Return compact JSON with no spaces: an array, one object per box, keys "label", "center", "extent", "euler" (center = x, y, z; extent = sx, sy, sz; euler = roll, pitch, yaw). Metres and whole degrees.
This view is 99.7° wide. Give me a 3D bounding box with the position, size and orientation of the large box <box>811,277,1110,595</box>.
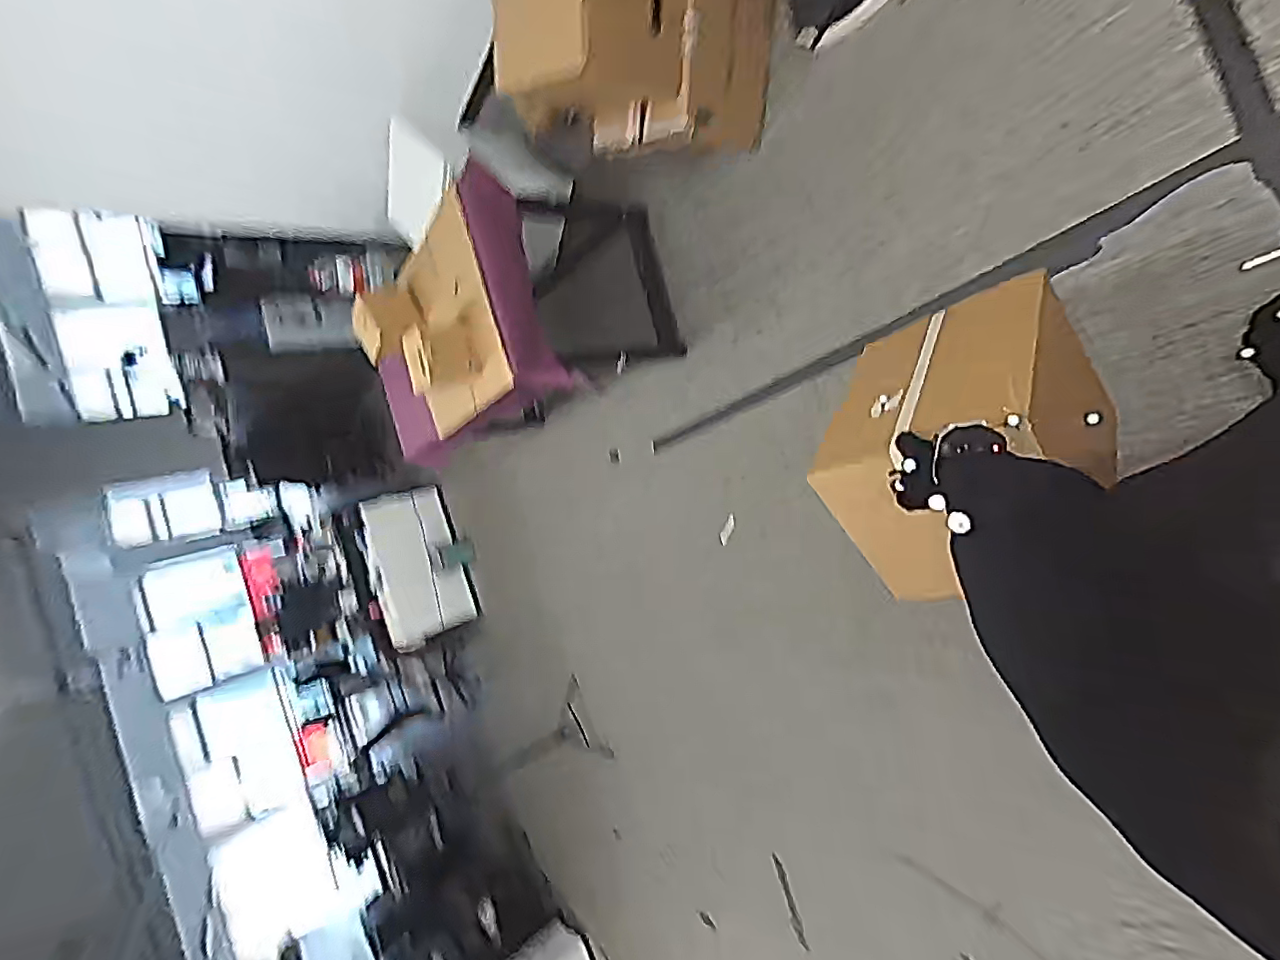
[{"label":"large box","center":[0.552,-0.063,0.920],"extent":[0.320,0.408,0.320],"euler":[48,143,-18]}]
